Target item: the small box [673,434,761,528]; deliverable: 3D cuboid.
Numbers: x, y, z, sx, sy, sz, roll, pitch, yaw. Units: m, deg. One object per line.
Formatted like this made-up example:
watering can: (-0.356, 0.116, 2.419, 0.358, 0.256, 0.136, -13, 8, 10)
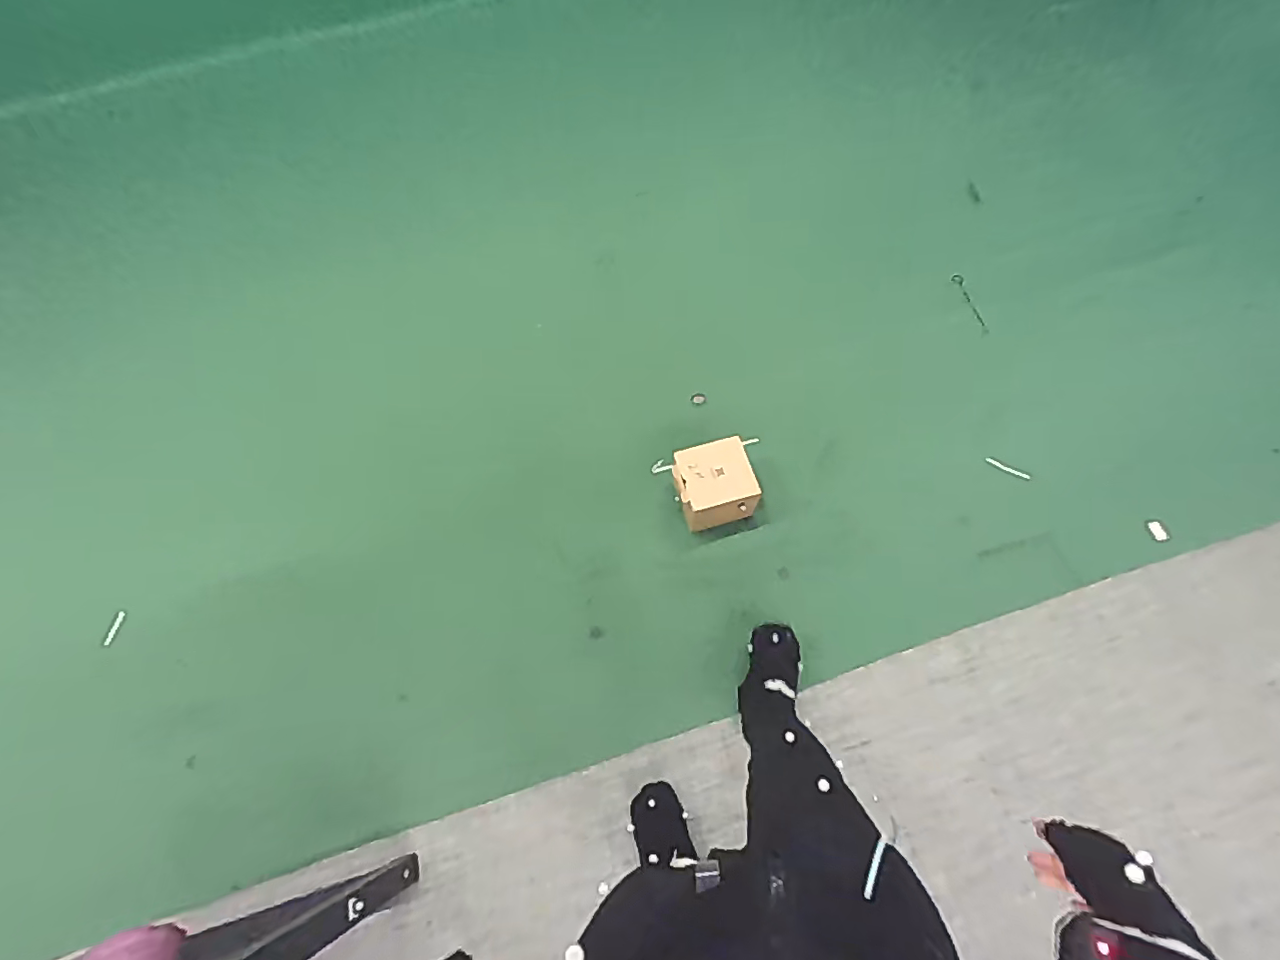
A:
small box: (0.190, 0.007, 1.397, 0.179, 0.176, 0.168, -15, 68, -4)
